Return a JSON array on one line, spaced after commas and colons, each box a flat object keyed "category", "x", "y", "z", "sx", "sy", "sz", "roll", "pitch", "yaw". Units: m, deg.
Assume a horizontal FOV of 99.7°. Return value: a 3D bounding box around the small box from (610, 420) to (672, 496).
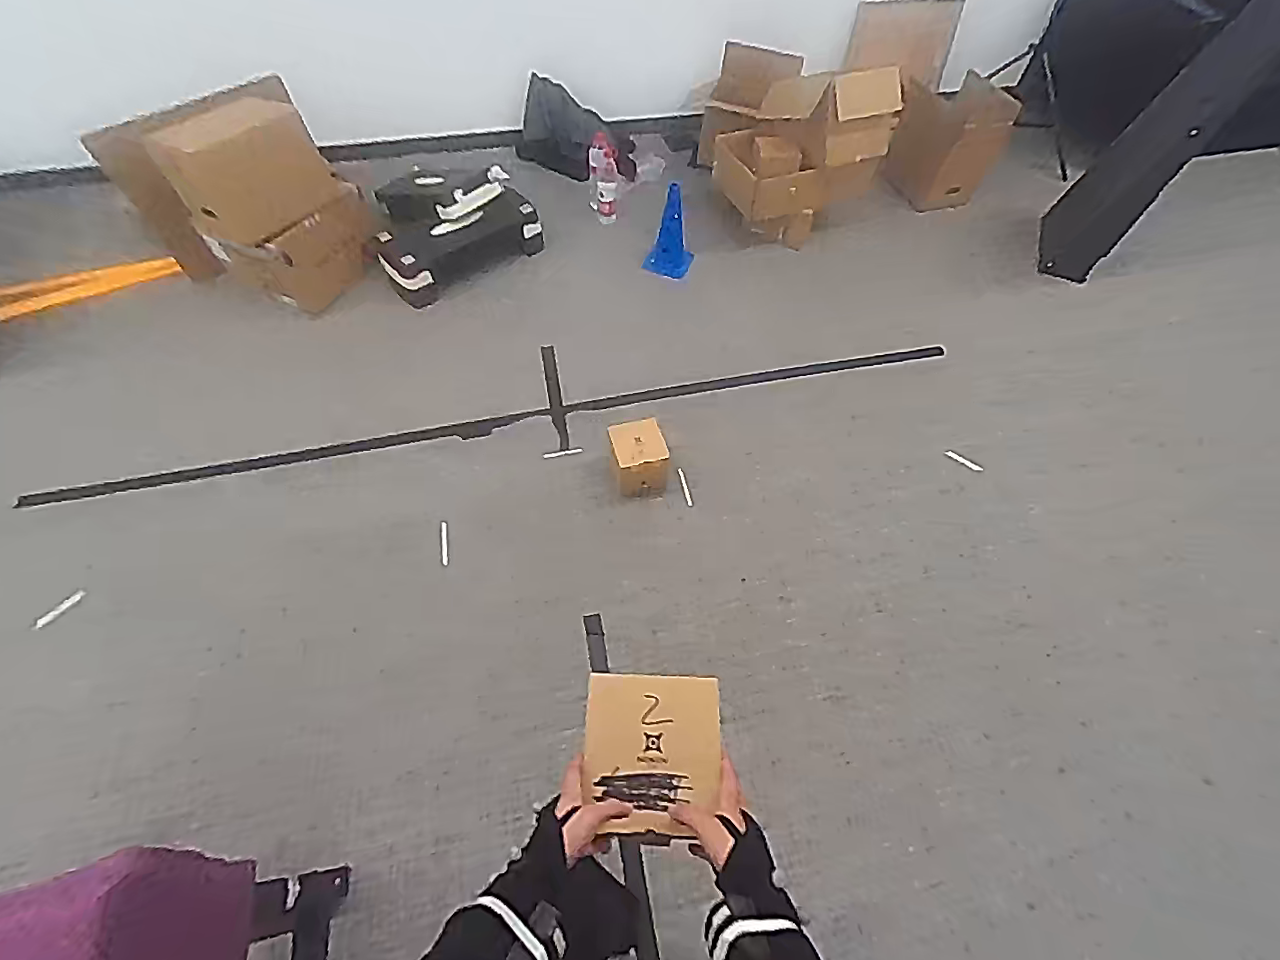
[{"category": "small box", "x": -0.003, "y": -0.071, "z": 1.800, "sx": 0.168, "sy": 0.176, "sz": 0.179, "roll": -12, "pitch": 60, "yaw": -10}]
